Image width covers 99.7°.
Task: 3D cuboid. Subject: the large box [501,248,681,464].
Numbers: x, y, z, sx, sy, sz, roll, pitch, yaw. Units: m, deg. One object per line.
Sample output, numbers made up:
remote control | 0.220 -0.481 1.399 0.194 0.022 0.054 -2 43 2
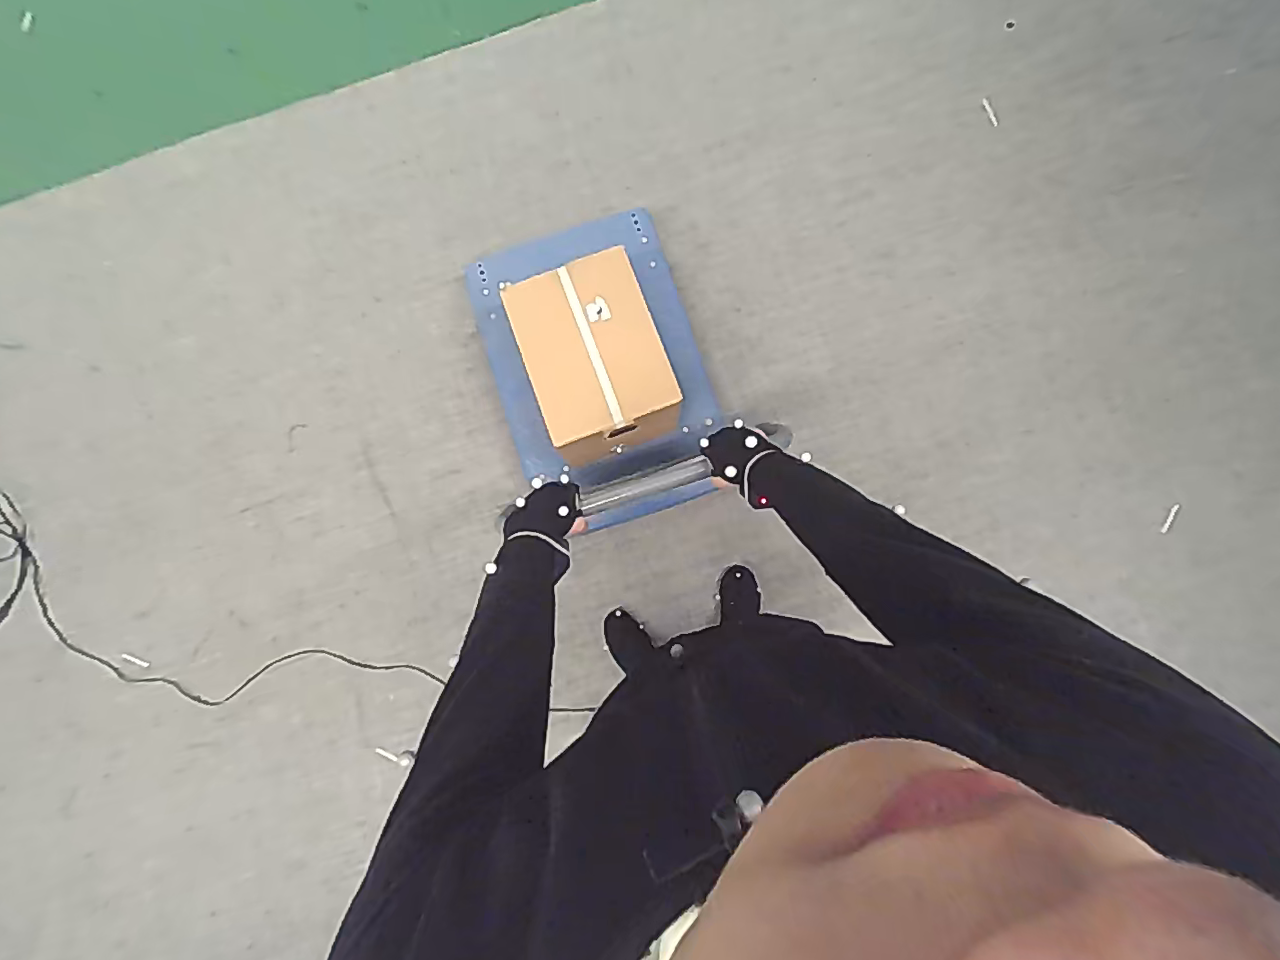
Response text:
large box | -0.108 -0.296 1.399 0.320 0.320 0.408 -21 82 -1
